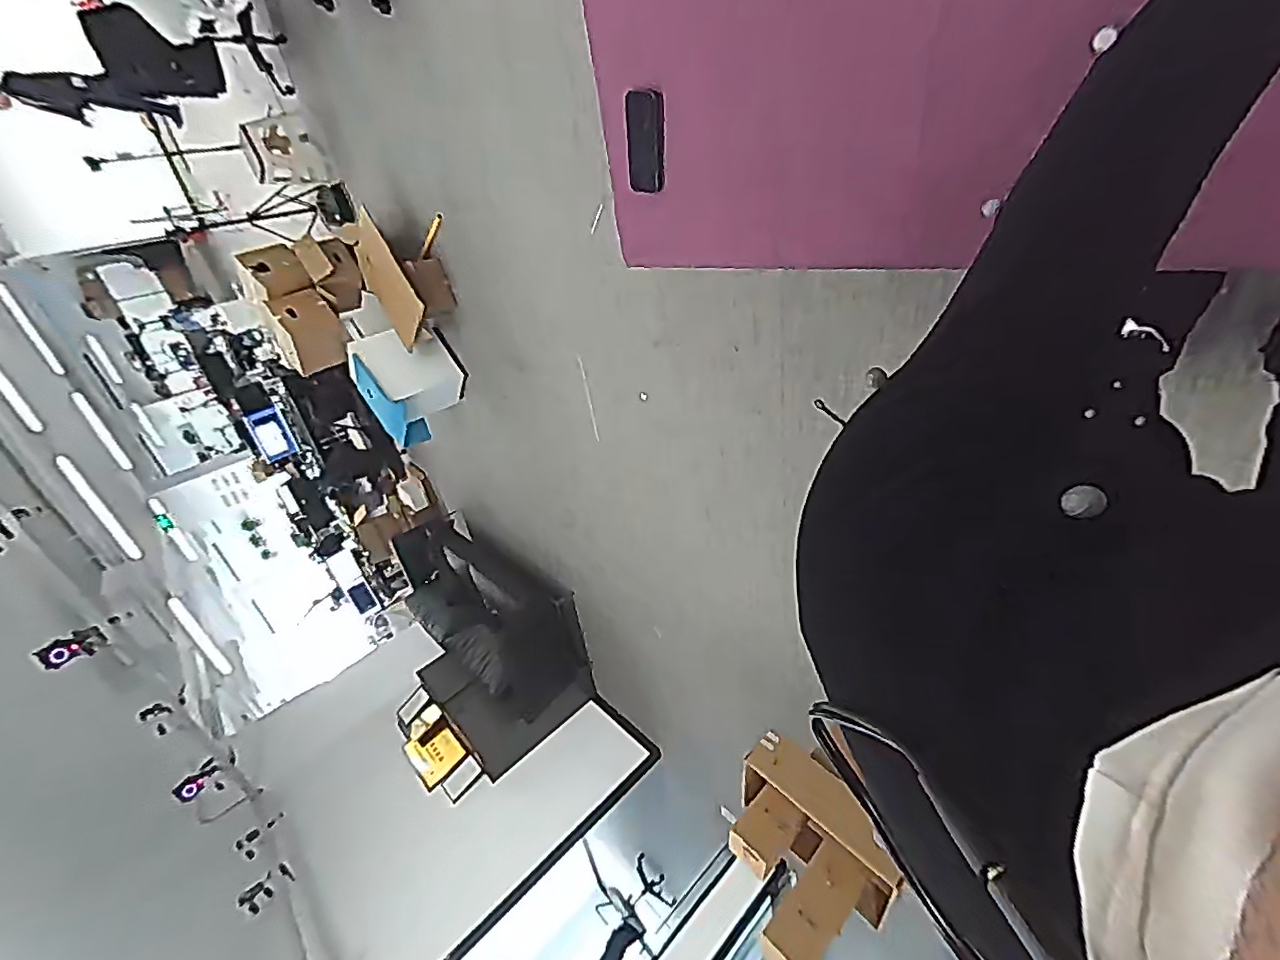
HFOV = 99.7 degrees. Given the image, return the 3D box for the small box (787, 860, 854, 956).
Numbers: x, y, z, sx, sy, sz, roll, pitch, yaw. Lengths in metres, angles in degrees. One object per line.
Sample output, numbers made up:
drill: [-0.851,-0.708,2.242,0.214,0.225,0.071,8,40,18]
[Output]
small box: [0.622,1.481,1.878,0.168,0.176,0.179,27,136,40]

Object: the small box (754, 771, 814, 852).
small box: [0.563,1.299,2.125,0.168,0.176,0.179,29,136,39]

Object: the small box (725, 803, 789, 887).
small box: [0.442,1.369,2.038,0.168,0.176,0.179,30,137,39]

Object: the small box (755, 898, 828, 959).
small box: [0.502,1.550,1.792,0.168,0.176,0.179,28,136,39]
